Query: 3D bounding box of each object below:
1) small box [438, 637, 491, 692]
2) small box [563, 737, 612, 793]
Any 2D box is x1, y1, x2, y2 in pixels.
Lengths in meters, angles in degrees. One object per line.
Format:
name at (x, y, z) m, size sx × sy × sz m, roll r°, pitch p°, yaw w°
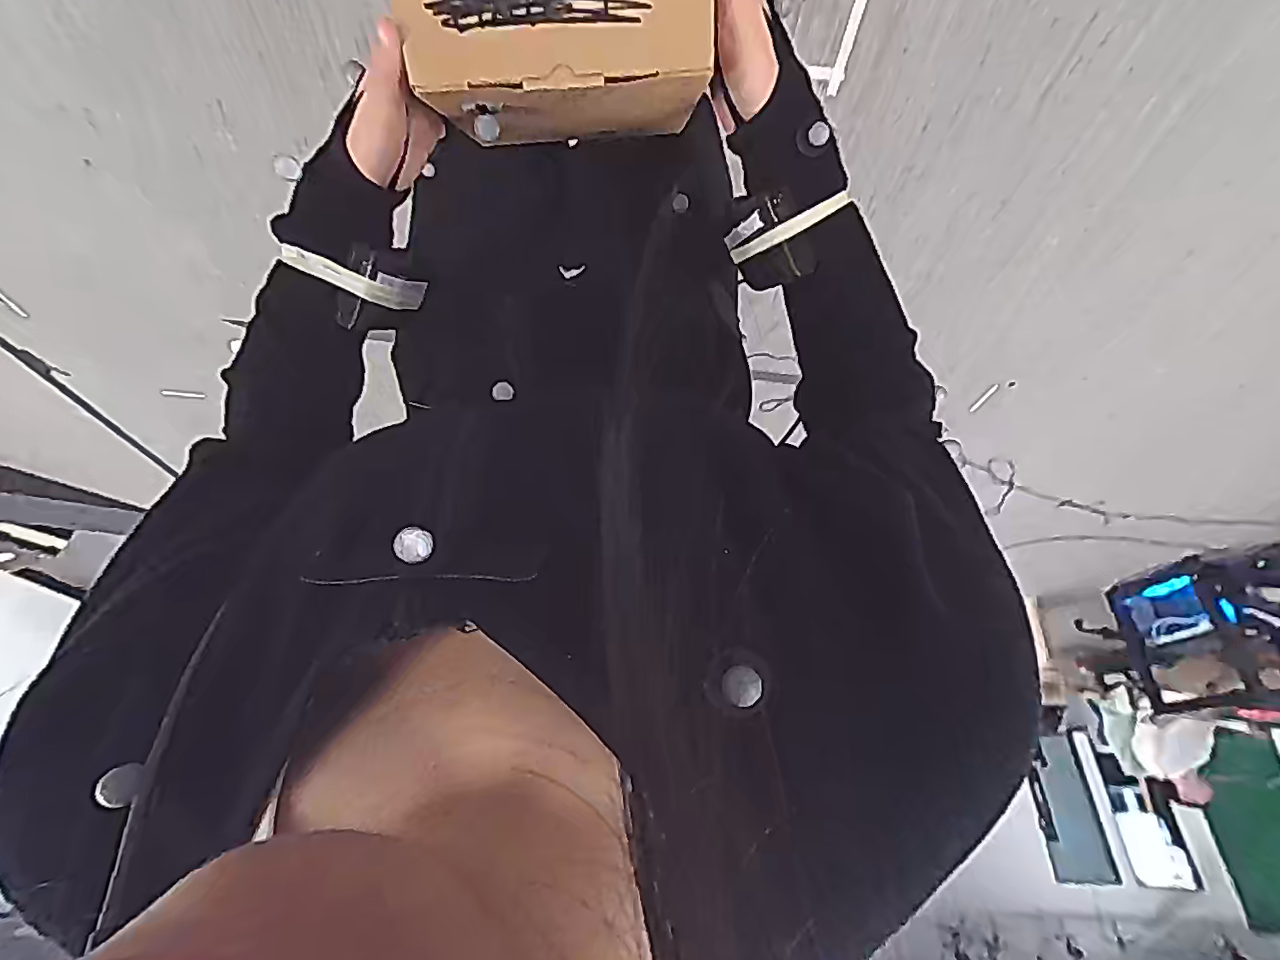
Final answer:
small box at (-0.678, 0.722, 2.107) m, size 0.168 × 0.176 × 0.179 m, roll 7°, pitch 149°, yaw -9°
small box at (-0.191, 1.039, 1.970) m, size 0.168 × 0.176 × 0.179 m, roll 5°, pitch 149°, yaw -5°
